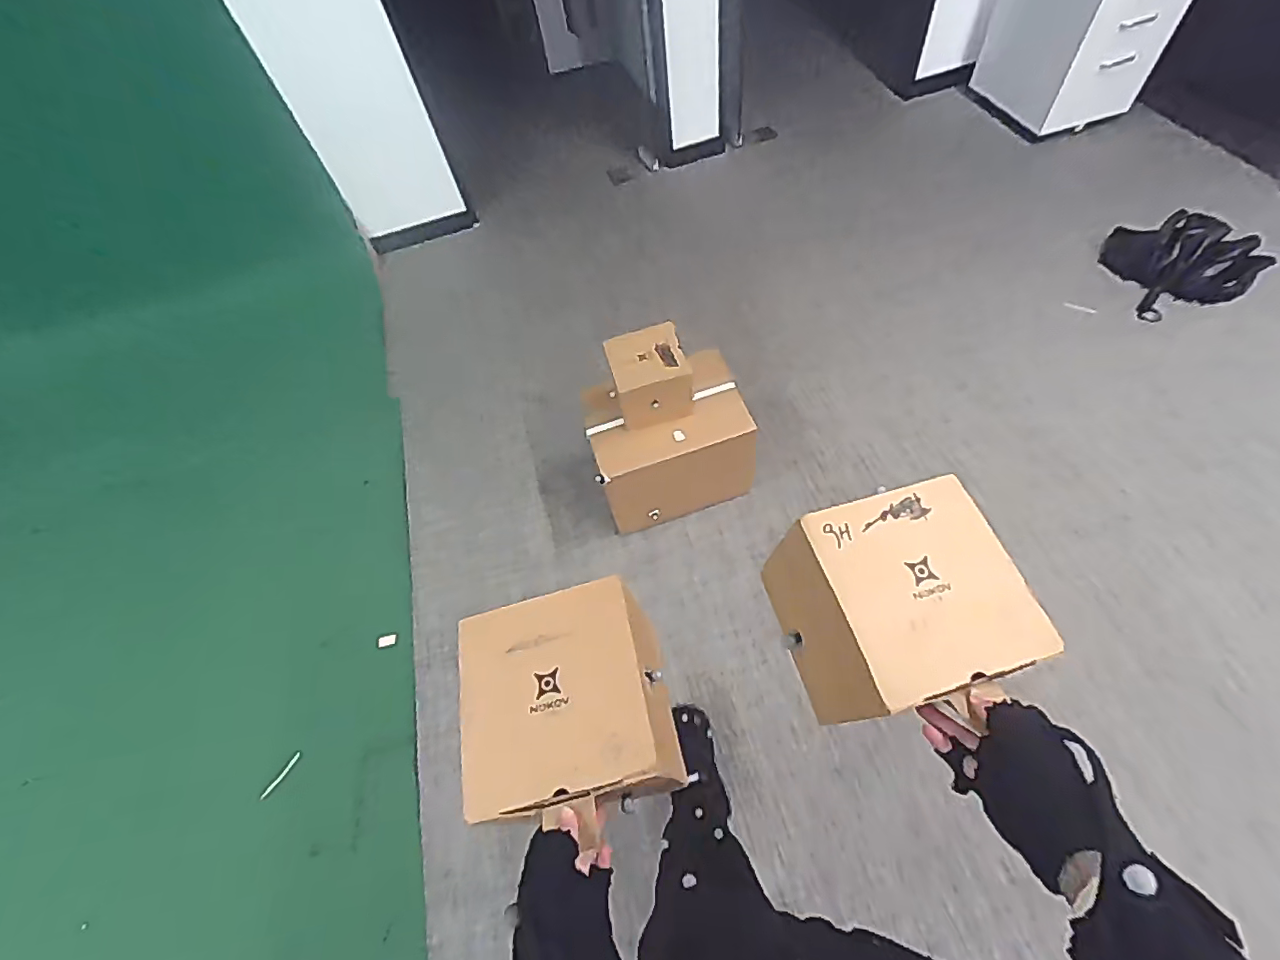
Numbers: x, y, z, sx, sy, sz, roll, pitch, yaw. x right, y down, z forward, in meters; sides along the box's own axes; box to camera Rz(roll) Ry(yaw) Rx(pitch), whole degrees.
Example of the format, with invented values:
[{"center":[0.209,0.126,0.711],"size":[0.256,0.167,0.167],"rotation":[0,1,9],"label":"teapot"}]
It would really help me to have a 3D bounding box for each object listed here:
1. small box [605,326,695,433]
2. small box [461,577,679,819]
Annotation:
[{"center":[0.025,-0.244,1.337],"size":[0.179,0.176,0.168],"rotation":[-19,64,-3],"label":"small box"},{"center":[-0.066,0.228,0.554],"size":[0.168,0.176,0.179],"rotation":[-17,55,3],"label":"small box"}]
